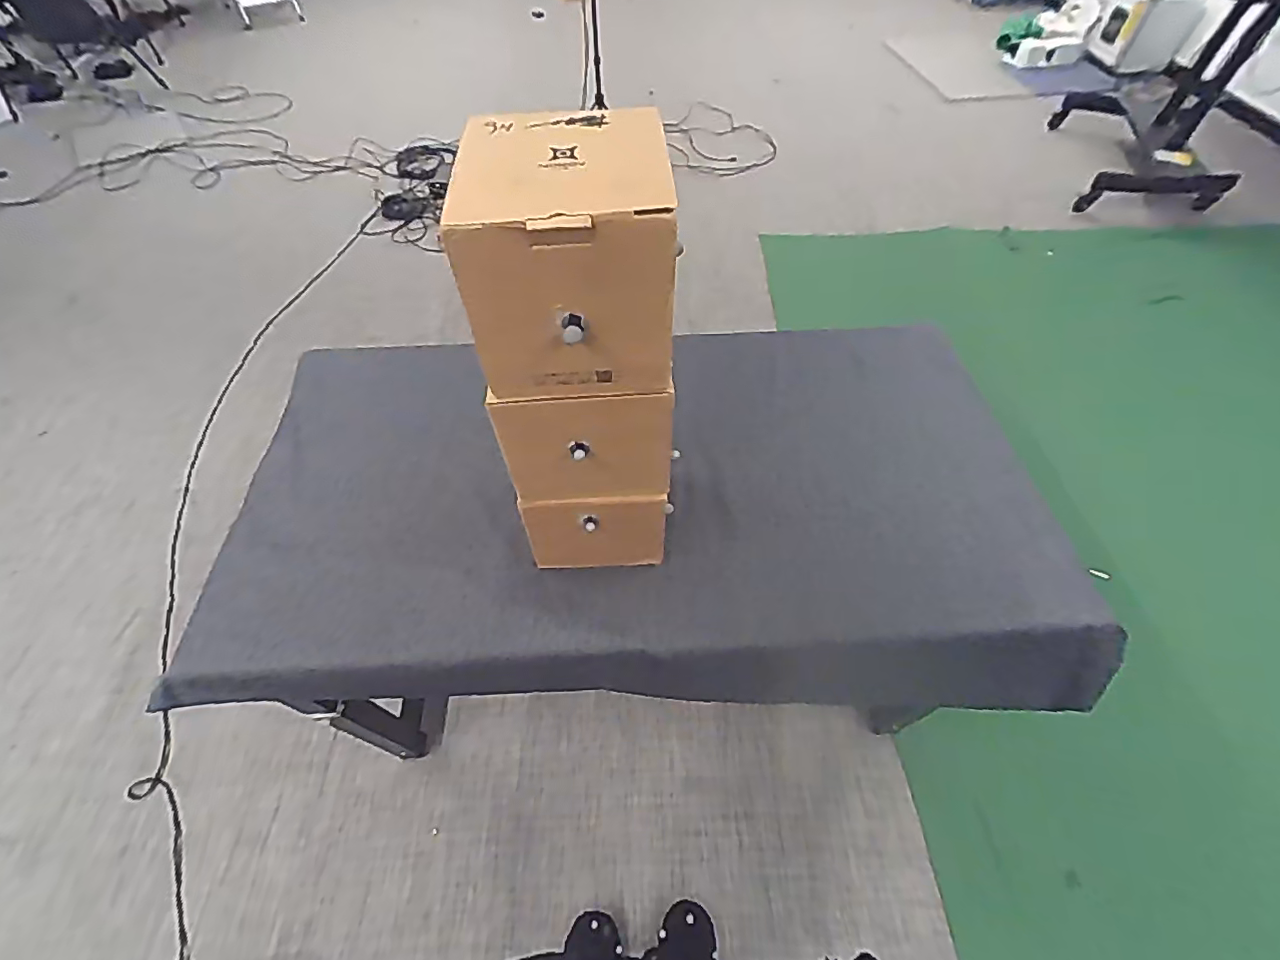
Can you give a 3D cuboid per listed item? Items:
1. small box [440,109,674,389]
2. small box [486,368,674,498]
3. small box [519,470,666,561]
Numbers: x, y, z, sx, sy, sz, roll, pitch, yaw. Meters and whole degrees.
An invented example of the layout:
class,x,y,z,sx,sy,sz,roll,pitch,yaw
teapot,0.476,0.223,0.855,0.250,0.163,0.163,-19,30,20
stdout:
class,x,y,z,sx,sy,sz,roll,pitch,yaw
small box,-0.058,-0.194,0.479,0.168,0.176,0.179,-3,56,-1
small box,-0.058,-0.093,0.608,0.179,0.176,0.168,-4,56,-1
small box,-0.058,0.003,0.741,0.179,0.176,0.168,-1,56,-2
